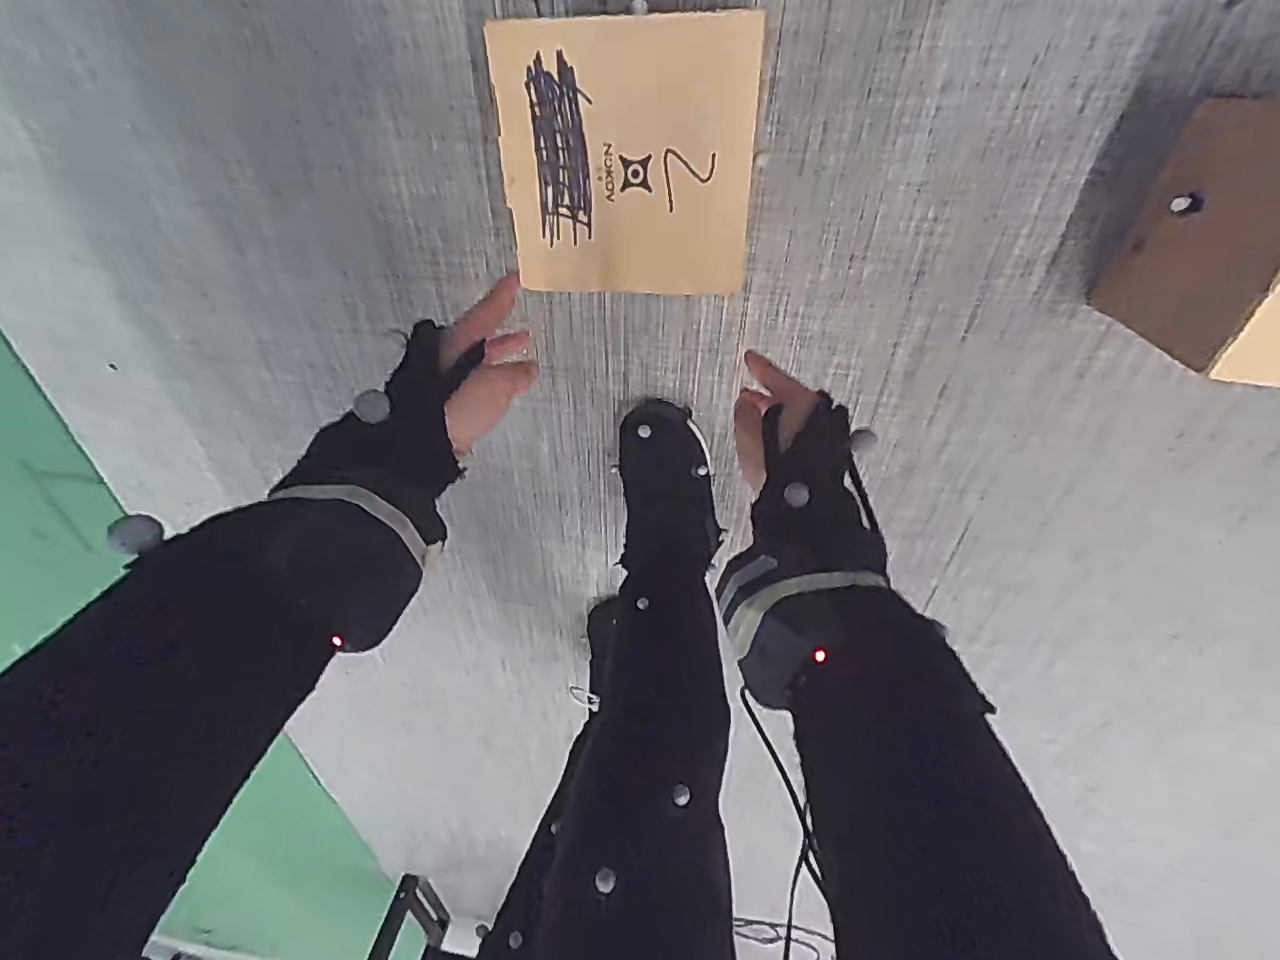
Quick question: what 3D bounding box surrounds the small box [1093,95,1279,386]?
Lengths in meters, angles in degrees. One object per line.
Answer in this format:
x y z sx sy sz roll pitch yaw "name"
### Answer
0.502 -0.176 0.396 0.179 0.176 0.168 8 127 5 "small box"
